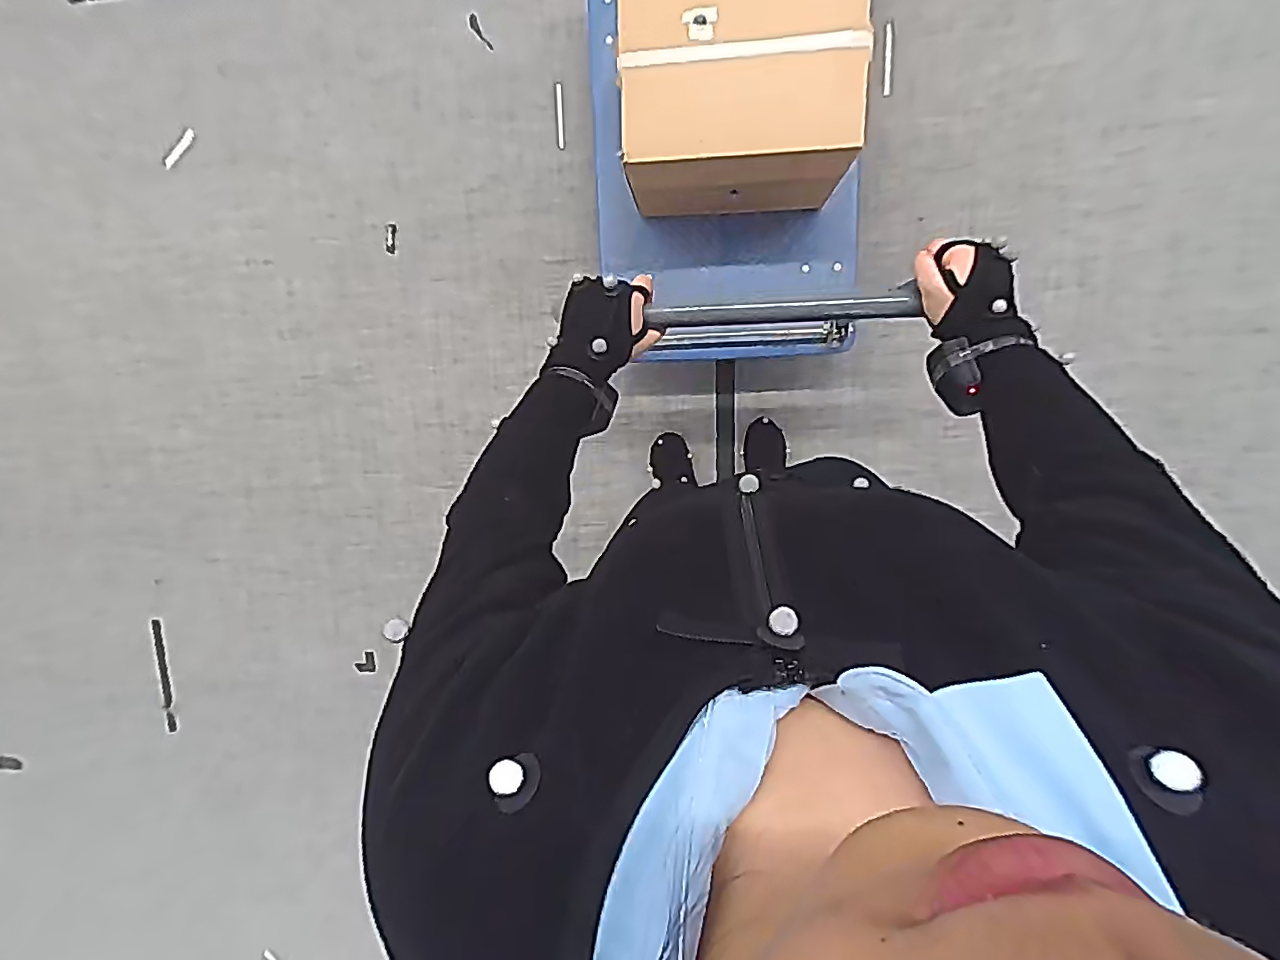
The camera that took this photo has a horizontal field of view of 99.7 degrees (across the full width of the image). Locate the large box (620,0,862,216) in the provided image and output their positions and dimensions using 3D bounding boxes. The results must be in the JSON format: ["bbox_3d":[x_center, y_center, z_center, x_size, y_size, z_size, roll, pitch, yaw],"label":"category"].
[{"bbox_3d":[0.186,-0.734,1.055,0.408,0.320,0.320,0,99,7],"label":"large box"}]
